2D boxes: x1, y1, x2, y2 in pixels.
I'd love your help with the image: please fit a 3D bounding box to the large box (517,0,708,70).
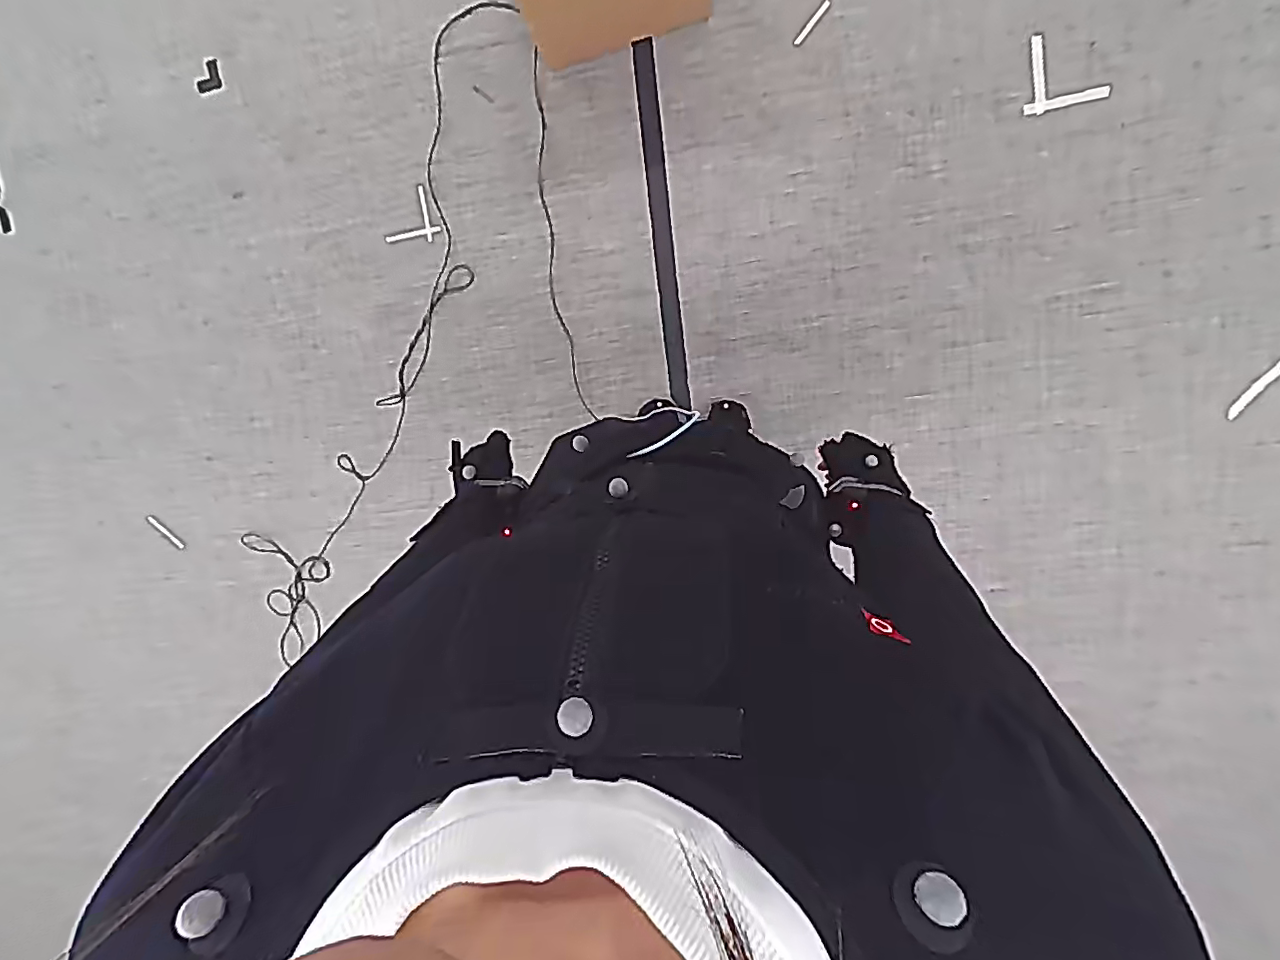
[{"bbox_3d":[-0.084,-1.152,1.115,0.408,0.320,0.320,-13,99,8],"label":"large box"}]
